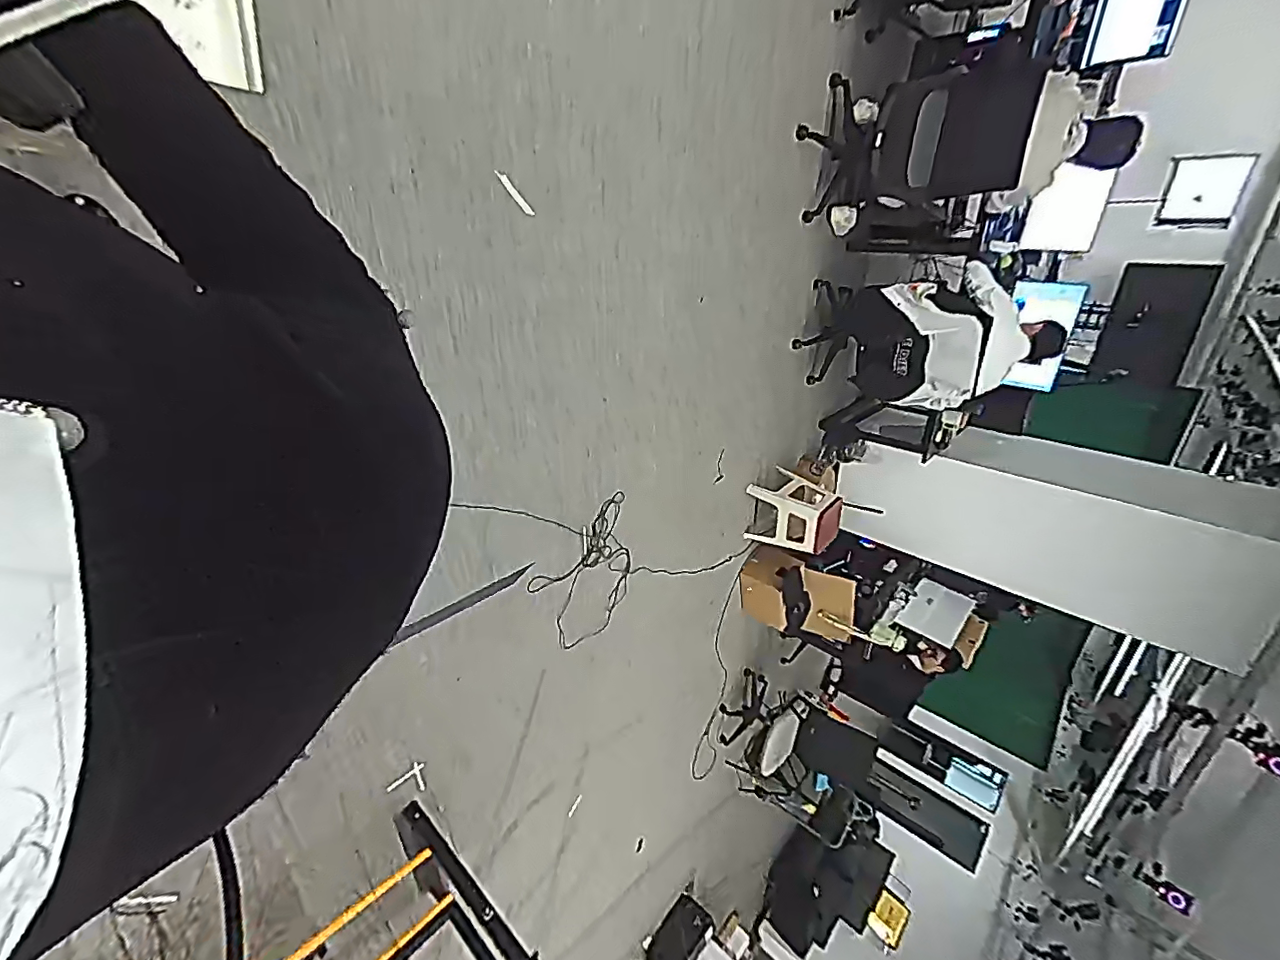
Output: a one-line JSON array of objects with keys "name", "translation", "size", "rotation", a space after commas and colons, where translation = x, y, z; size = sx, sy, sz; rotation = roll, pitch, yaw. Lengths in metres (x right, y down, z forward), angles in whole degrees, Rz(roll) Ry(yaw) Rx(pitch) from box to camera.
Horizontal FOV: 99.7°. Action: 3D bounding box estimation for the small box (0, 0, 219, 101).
[{"name": "small box", "translation": [-0.509, -0.462, 0.473], "size": [0.168, 0.176, 0.179], "rotation": [-19, 123, -48]}]
